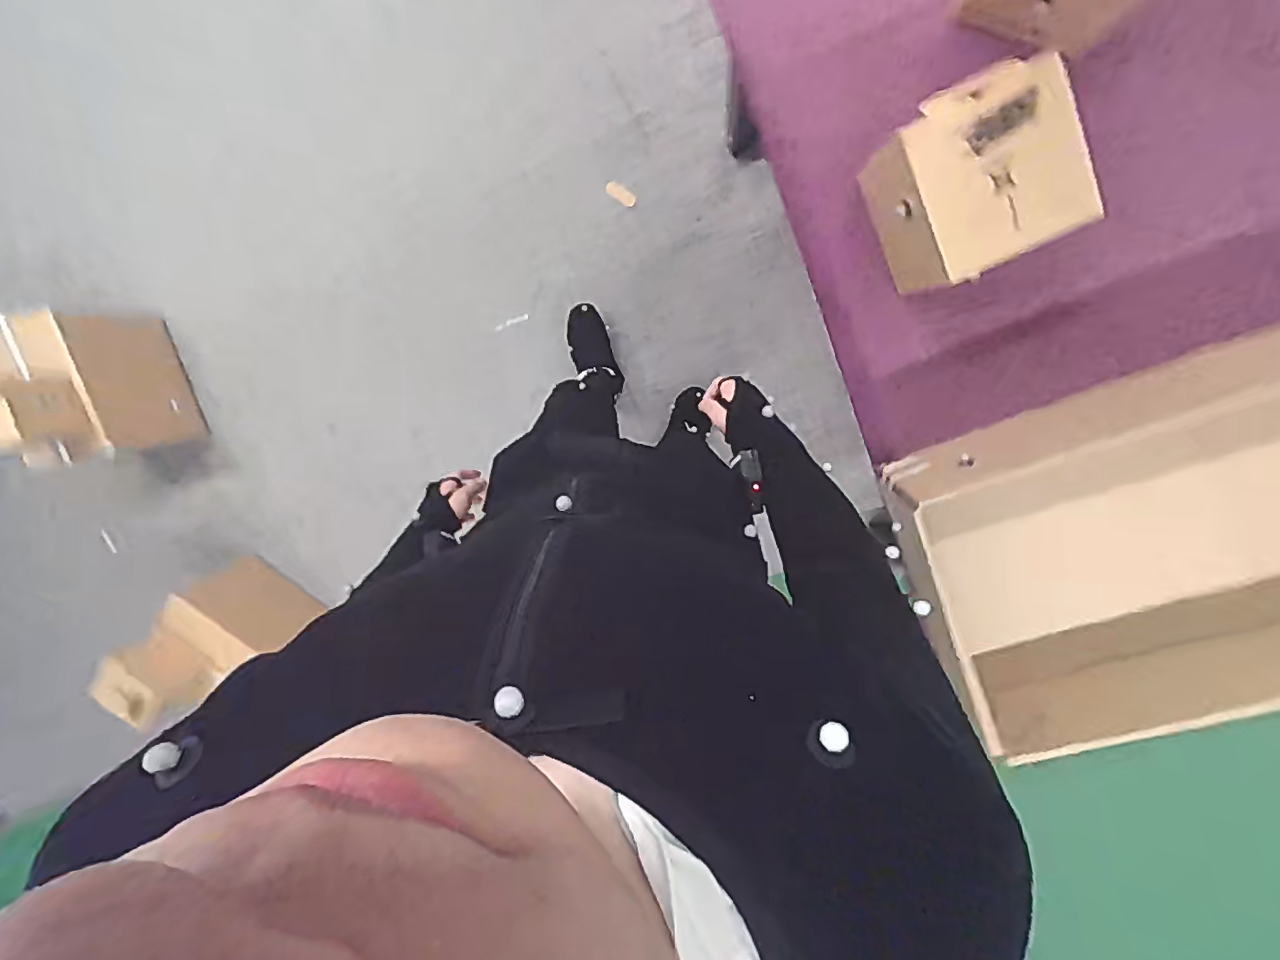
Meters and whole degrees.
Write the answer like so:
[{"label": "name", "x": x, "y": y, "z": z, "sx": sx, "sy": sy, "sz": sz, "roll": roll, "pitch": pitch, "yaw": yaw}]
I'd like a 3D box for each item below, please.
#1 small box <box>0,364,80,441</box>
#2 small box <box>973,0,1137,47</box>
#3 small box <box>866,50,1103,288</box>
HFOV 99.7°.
[{"label": "small box", "x": -1.629, "y": -0.200, "z": 1.405, "sx": 0.179, "sy": 0.176, "sz": 0.168, "roll": -13, "pitch": 103, "yaw": 9}, {"label": "small box", "x": 0.492, "y": -0.618, "z": 0.578, "sx": 0.168, "sy": 0.176, "sz": 0.179, "roll": 20, "pitch": 107, "yaw": 1}, {"label": "small box", "x": 0.401, "y": -0.355, "z": 0.661, "sx": 0.168, "sy": 0.176, "sz": 0.179, "roll": -23, "pitch": 101, "yaw": 12}]
